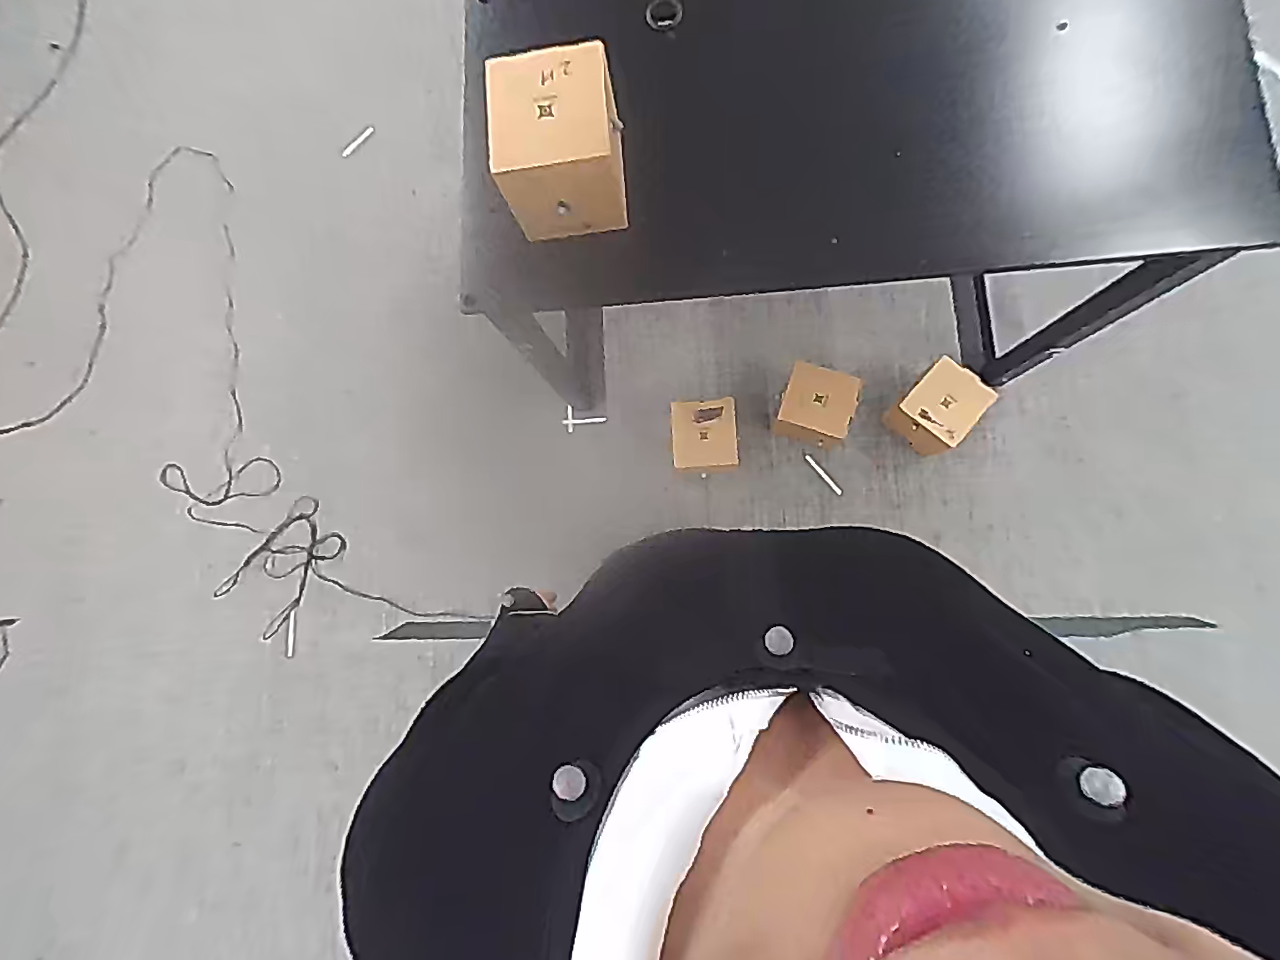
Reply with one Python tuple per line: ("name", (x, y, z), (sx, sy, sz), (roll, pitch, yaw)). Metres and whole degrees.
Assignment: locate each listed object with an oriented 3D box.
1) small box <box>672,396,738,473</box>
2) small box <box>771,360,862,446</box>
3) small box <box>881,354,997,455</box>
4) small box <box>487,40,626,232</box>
("small box", (0.173, -0.118, 1.469), (0.168, 0.176, 0.179), (-4, 84, 7))
("small box", (0.463, -0.197, 1.445), (0.179, 0.176, 0.168), (18, 85, 10))
("small box", (0.763, -0.190, 1.405), (0.168, 0.176, 0.179), (41, 89, 10))
("small box", (-0.116, -0.495, 0.809), (0.168, 0.176, 0.179), (-5, 82, 6))
